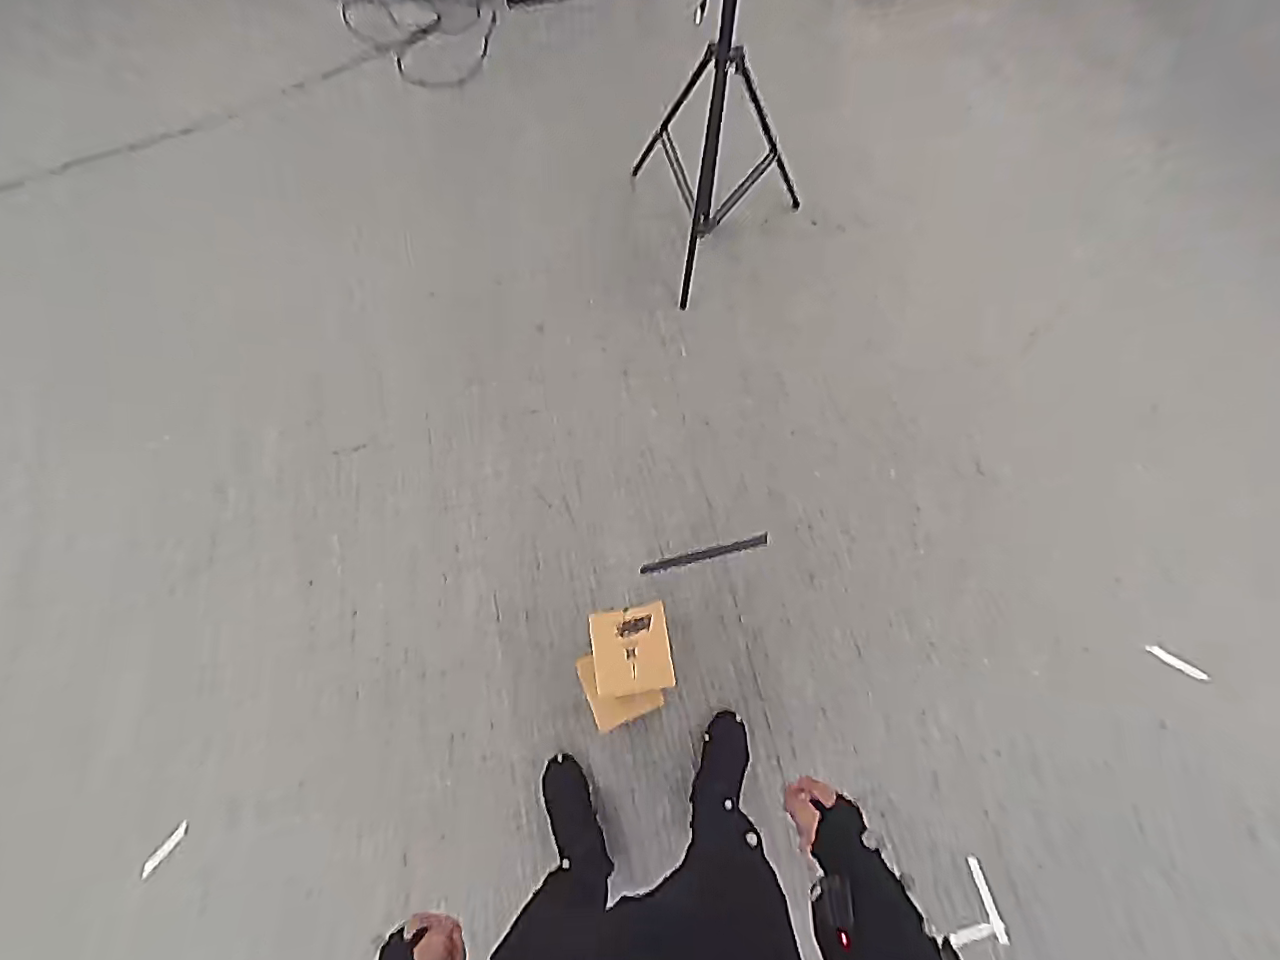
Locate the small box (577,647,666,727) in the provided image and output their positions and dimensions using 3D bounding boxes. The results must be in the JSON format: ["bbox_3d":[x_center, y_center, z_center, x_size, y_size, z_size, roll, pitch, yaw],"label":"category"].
[{"bbox_3d":[-0.044,0.489,1.346,0.168,0.176,0.179,-23,73,-5],"label":"small box"}]

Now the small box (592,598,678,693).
[{"bbox_3d":[-0.010,0.372,1.211,0.168,0.176,0.179,-9,72,0],"label":"small box"}]
